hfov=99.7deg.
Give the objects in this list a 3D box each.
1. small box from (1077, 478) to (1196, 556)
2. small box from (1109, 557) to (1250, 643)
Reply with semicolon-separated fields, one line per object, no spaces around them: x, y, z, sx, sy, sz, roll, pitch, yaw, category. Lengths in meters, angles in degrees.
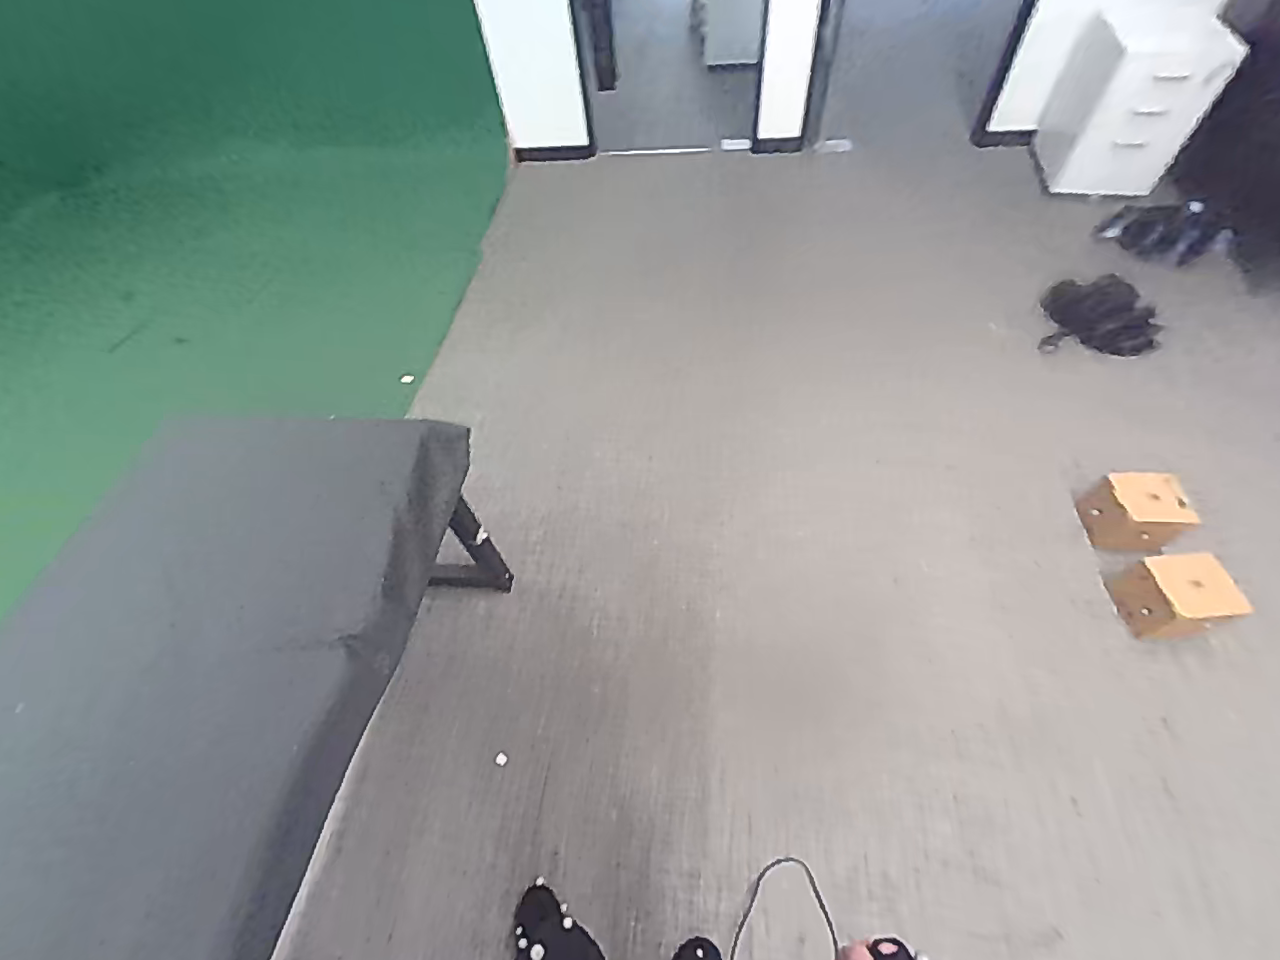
1.416;0.109;1.563;0.179;0.176;0.168;0;54;6;small box
1.389;0.318;1.415;0.179;0.176;0.168;-5;55;0;small box
